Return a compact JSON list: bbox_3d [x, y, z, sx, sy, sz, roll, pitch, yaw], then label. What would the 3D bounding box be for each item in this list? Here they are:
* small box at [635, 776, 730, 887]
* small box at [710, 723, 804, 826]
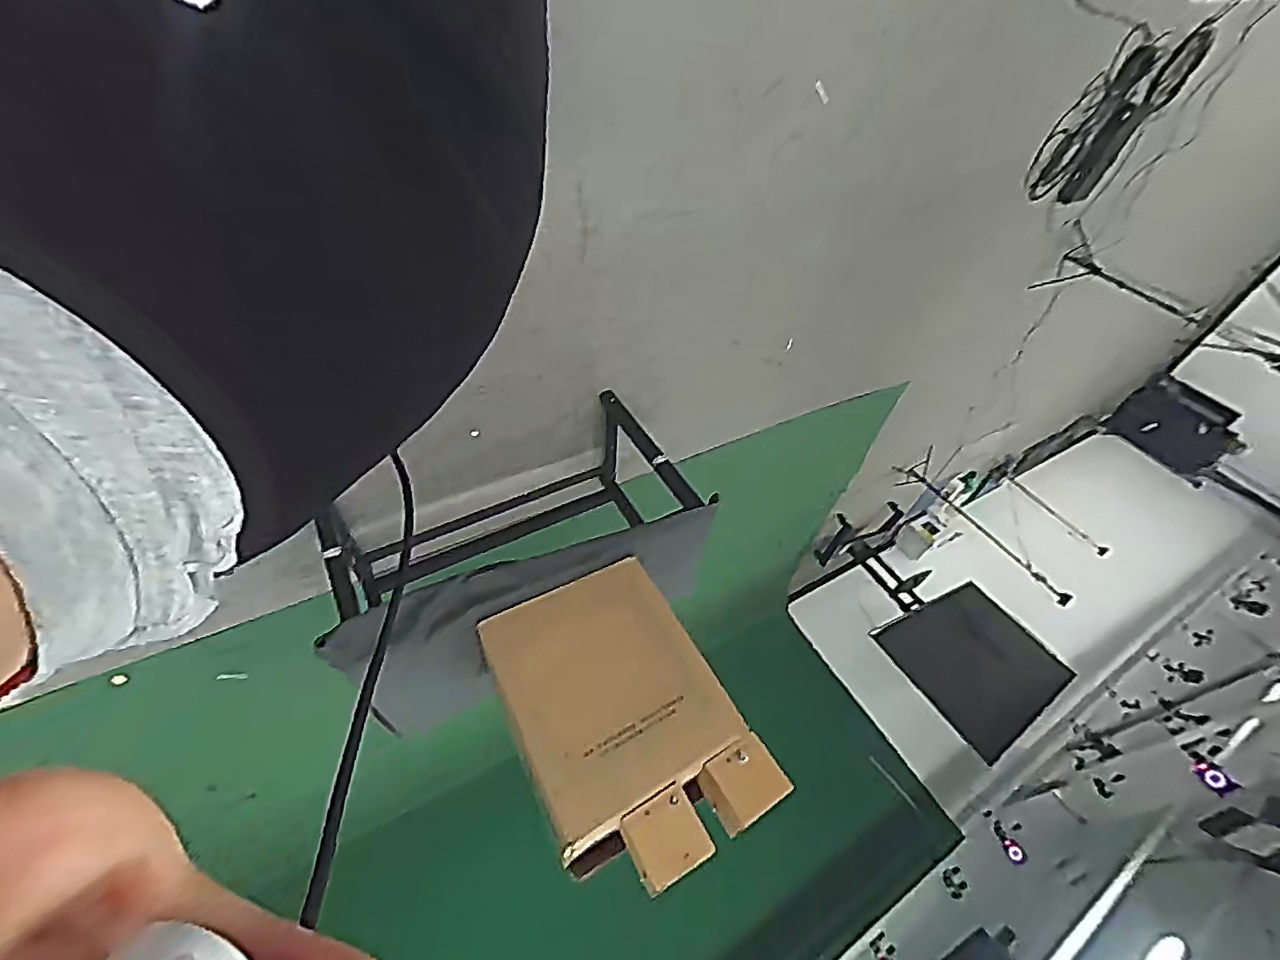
[{"bbox_3d":[0.100,0.876,1.356,0.168,0.176,0.179,-23,145,-21],"label":"small box"},{"bbox_3d":[0.307,0.789,1.460,0.168,0.176,0.179,-26,145,-23],"label":"small box"}]
